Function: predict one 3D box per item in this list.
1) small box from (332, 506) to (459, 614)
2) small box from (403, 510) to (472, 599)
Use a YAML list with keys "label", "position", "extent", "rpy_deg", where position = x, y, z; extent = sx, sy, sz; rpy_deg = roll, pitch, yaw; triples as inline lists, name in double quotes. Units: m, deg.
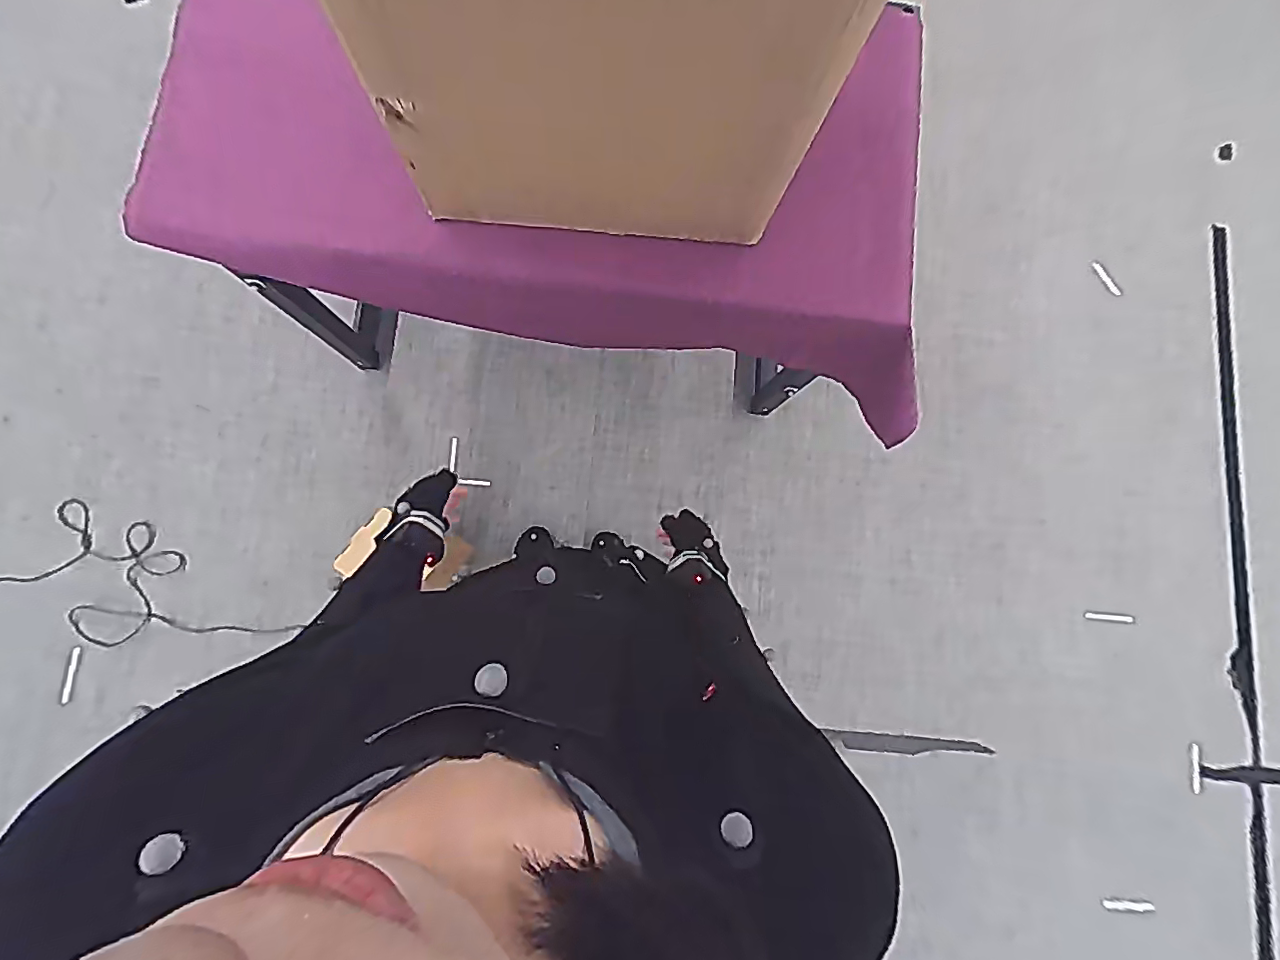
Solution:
- label: "small box"
  position: [-0.546, 0.183, 1.233]
  extent: [0.179, 0.176, 0.168]
  rpy_deg: [38, 81, 1]
- label: "small box"
  position: [-0.564, 0.198, 1.396]
  extent: [0.179, 0.176, 0.168]
  rpy_deg: [36, 81, -1]
